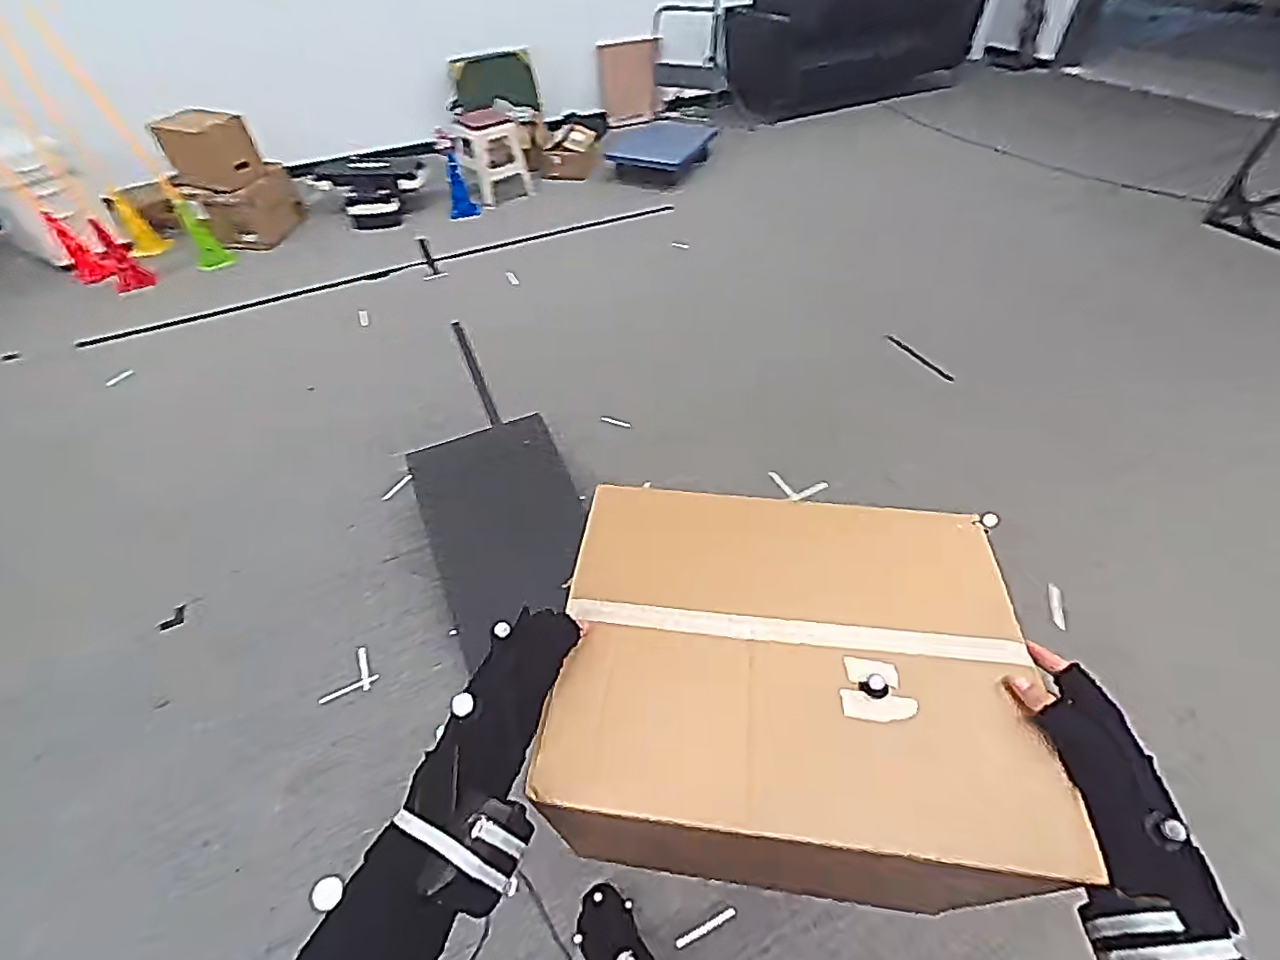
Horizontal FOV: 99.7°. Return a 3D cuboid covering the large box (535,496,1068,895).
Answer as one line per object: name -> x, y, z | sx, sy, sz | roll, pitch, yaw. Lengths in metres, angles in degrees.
large box -> 0.130, 0.241, 0.612 | 0.408, 0.320, 0.320 | 4, 49, 5

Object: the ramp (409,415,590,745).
ramp -> -0.362, 0.226, 1.695 | 0.509, 0.206, 0.991 | -21, 51, -17
